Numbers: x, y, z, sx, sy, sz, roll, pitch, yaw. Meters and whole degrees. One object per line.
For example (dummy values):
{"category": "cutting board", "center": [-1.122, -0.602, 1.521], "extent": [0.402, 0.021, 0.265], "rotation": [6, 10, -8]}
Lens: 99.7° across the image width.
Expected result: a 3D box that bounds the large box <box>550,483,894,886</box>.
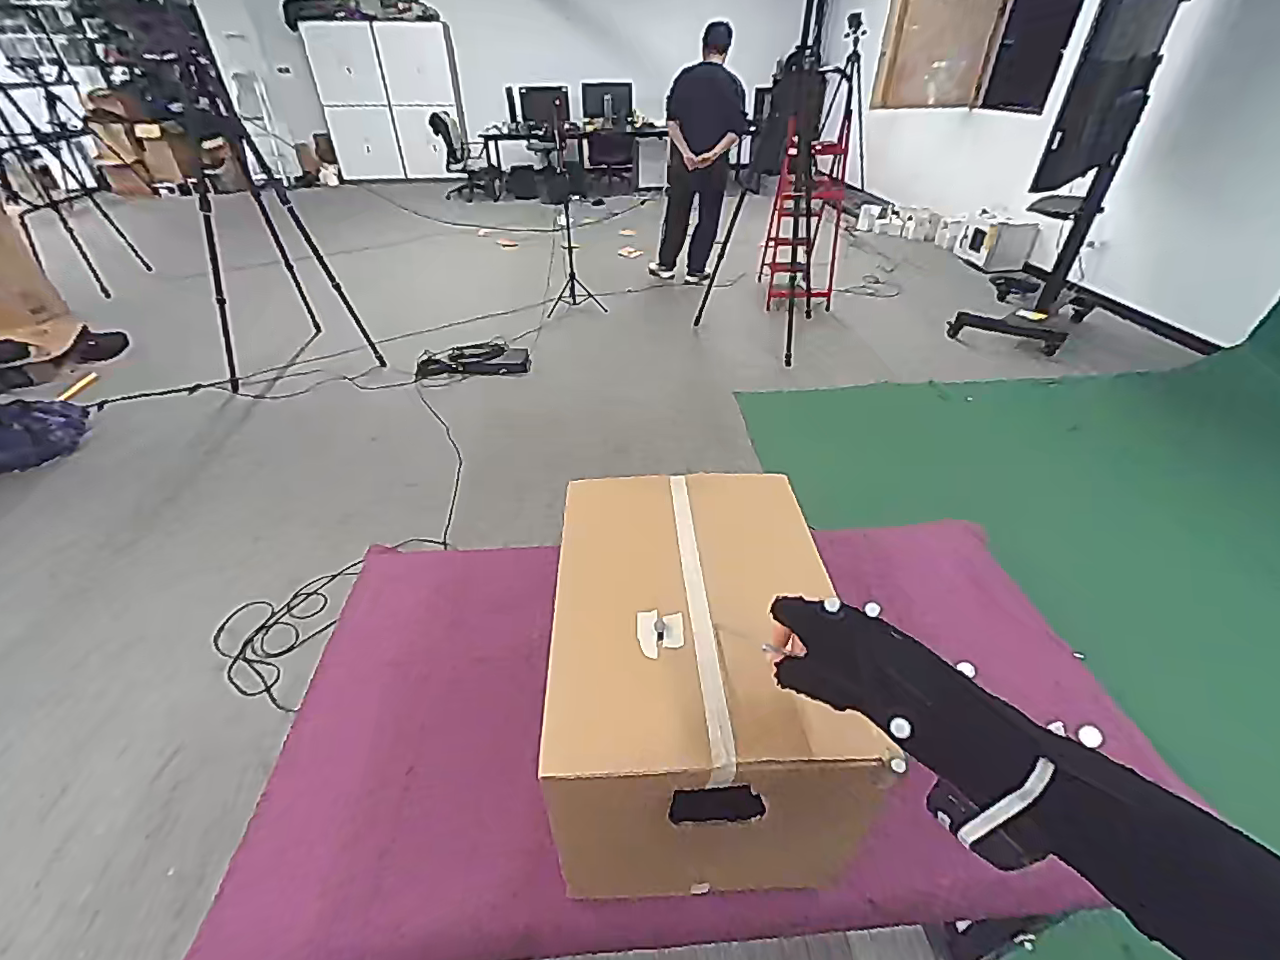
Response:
{"category": "large box", "center": [0.061, 0.246, 0.716], "extent": [0.320, 0.320, 0.408], "rotation": [-1, 38, -2]}
